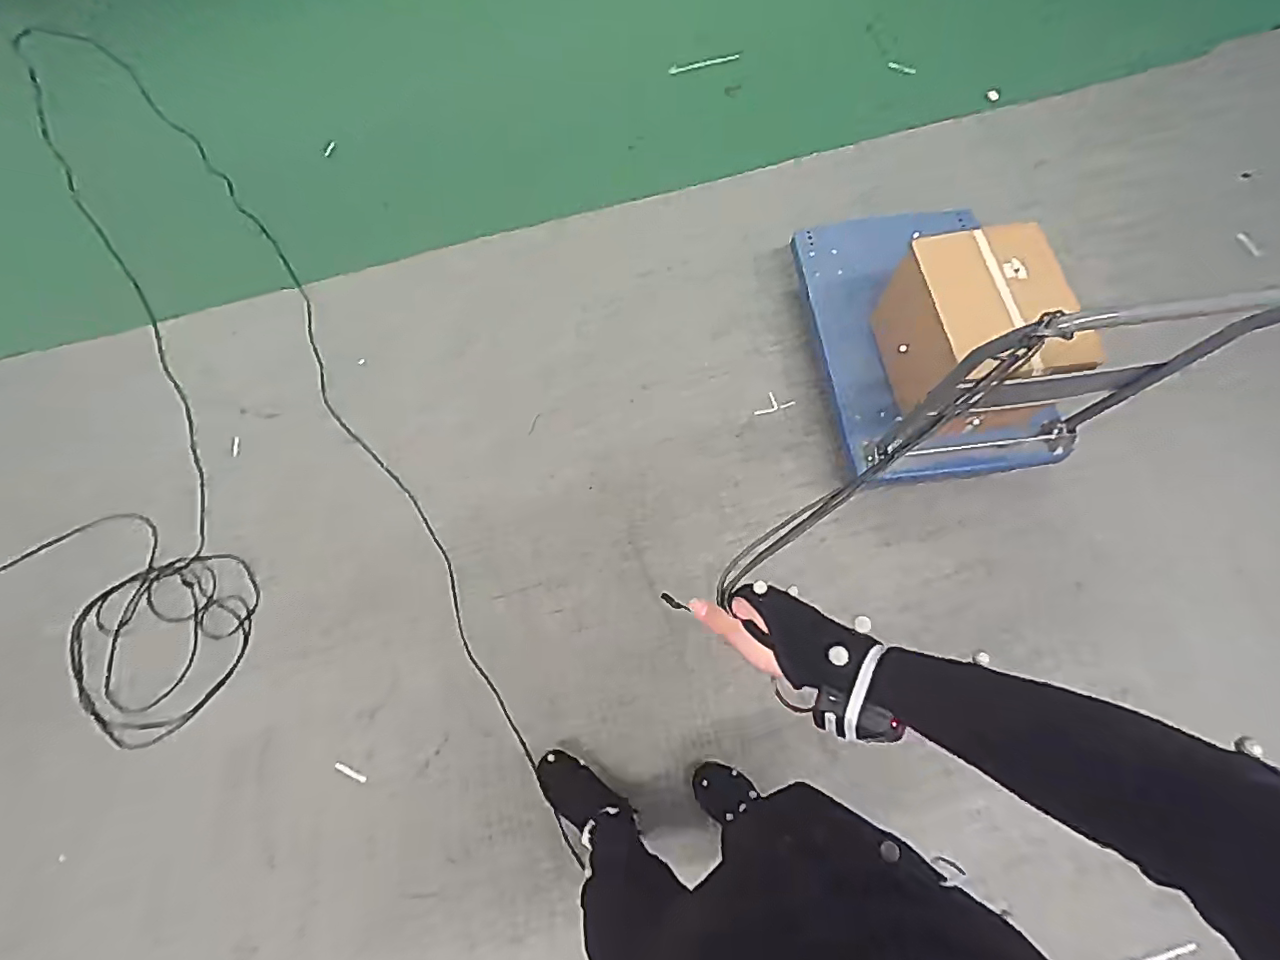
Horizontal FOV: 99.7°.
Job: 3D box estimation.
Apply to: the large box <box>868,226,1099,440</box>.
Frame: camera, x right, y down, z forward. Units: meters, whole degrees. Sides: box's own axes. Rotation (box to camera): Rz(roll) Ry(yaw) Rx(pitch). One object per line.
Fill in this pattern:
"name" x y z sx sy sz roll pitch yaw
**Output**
"large box" 0.834 -0.364 1.387 0.320 0.320 0.408 -8 68 0
